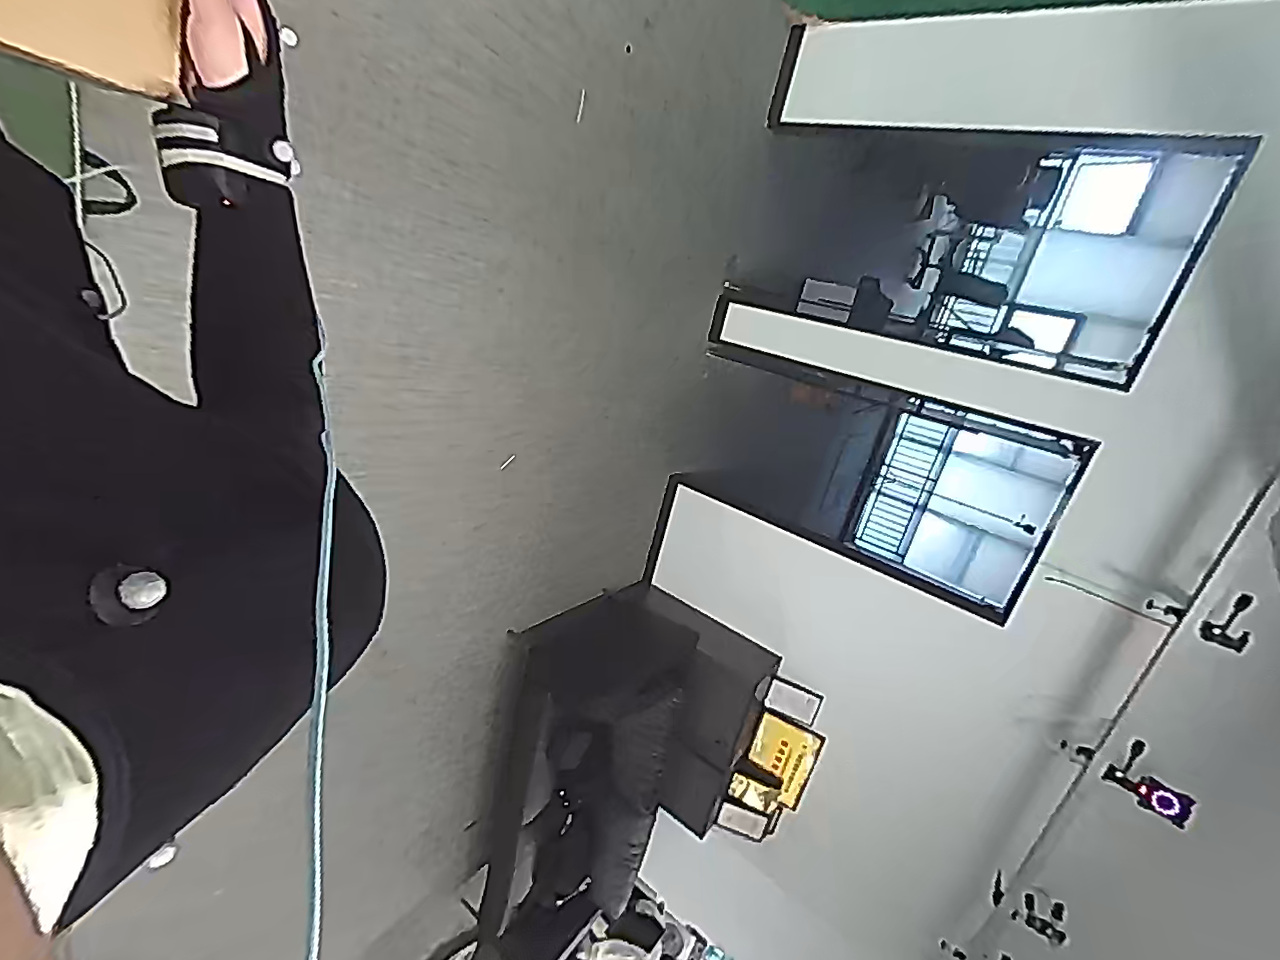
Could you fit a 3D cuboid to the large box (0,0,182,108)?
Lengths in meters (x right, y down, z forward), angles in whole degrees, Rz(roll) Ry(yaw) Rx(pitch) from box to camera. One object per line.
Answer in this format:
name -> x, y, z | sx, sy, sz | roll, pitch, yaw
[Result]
large box -> -0.557, -0.470, 0.301 | 0.408, 0.320, 0.320 | -9, 122, -53
